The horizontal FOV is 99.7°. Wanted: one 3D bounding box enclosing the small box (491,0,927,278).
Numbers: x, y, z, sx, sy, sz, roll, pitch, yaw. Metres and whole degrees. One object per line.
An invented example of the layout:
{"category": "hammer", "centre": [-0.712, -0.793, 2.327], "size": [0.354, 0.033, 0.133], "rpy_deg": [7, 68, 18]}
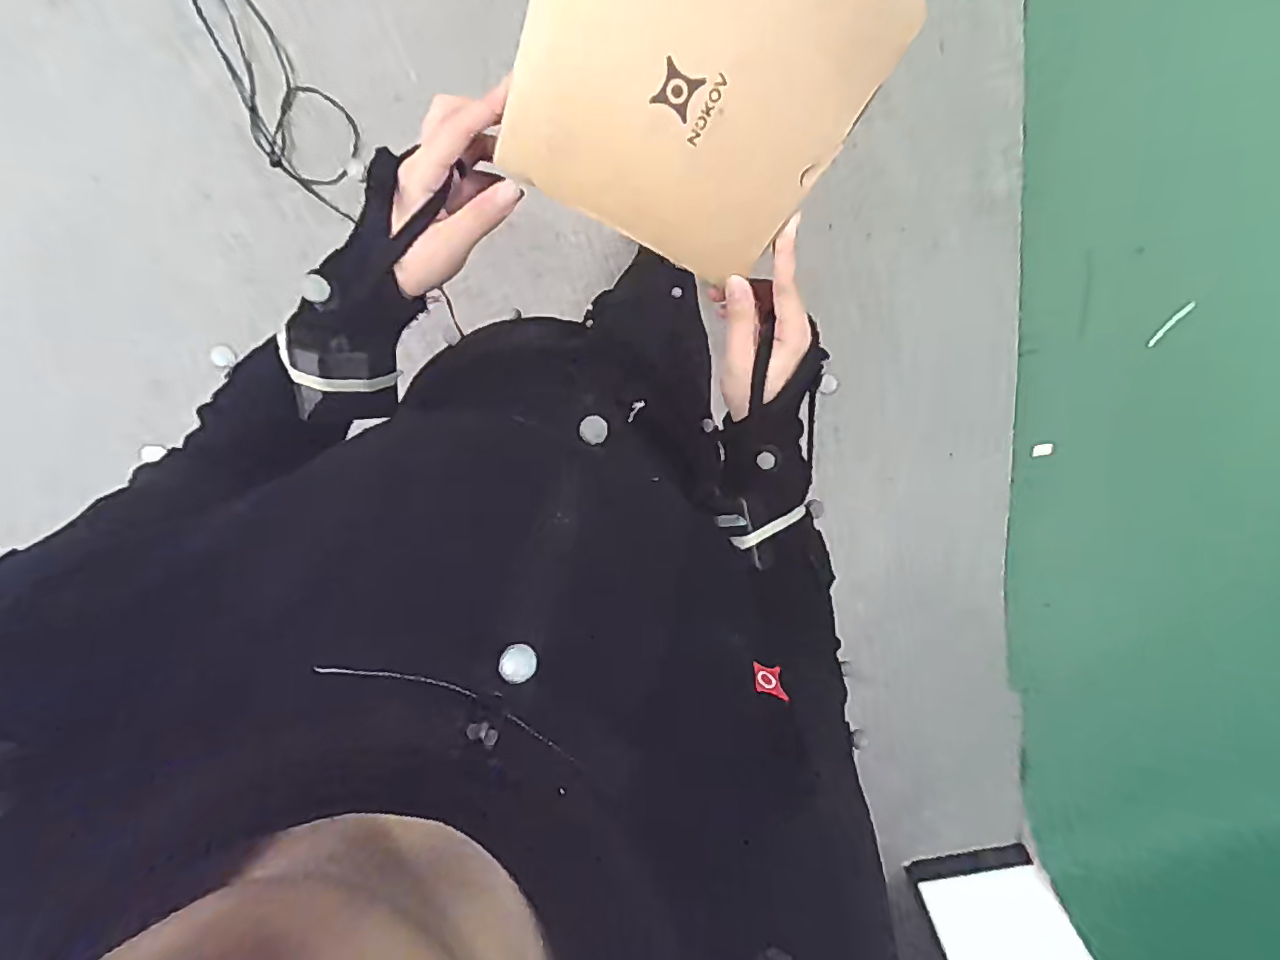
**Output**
{"category": "small box", "centre": [0.032, -0.269, 0.337], "size": [0.179, 0.176, 0.168], "rpy_deg": [22, 137, -14]}
